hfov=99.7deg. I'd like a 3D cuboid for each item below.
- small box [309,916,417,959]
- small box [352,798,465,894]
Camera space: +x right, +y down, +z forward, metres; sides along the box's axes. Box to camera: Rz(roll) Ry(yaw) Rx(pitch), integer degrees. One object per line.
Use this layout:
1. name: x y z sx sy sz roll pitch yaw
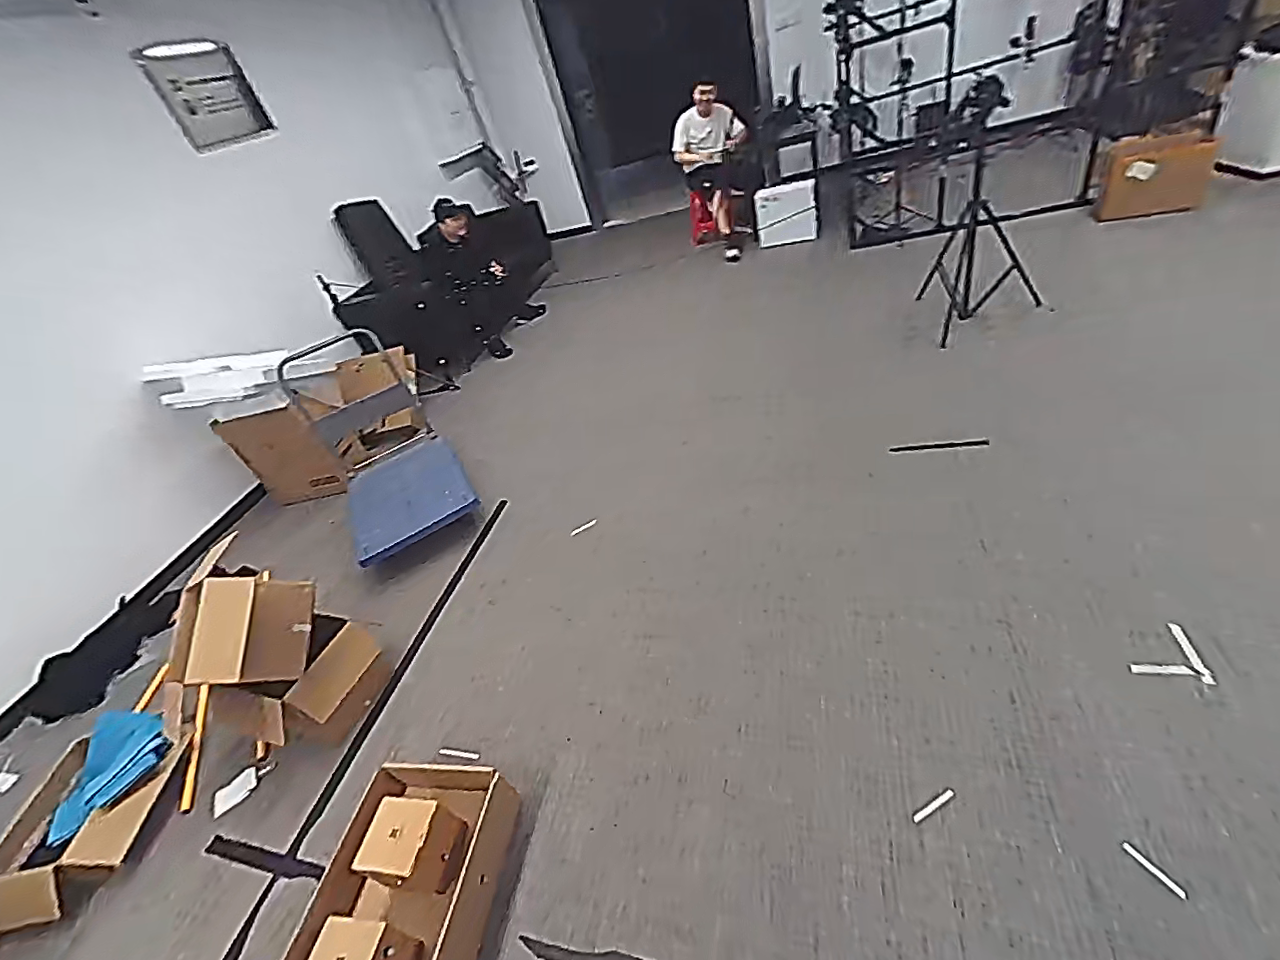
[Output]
1. small box: -0.635 1.123 1.218 0.168 0.176 0.179 -9 37 16
2. small box: -0.596 0.957 1.415 0.179 0.176 0.168 -6 39 17
